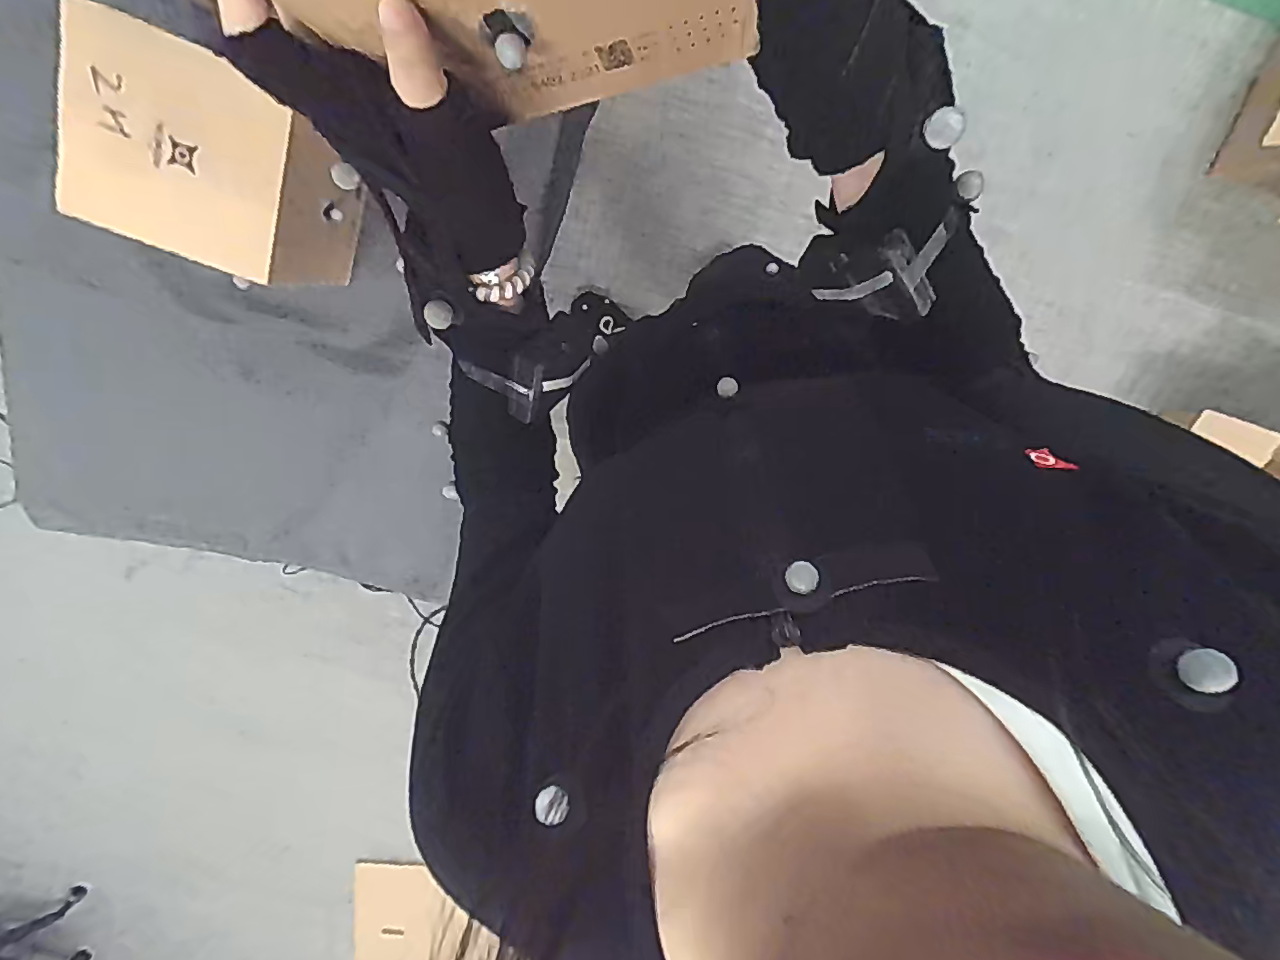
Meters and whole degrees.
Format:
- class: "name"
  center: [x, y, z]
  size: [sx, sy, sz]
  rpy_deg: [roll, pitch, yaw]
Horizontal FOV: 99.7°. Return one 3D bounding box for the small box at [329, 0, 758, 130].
- class: "small box"
  center: [-0.052, -0.266, 0.184]
  size: [0.168, 0.176, 0.179]
  rpy_deg: [-3, 96, 17]
